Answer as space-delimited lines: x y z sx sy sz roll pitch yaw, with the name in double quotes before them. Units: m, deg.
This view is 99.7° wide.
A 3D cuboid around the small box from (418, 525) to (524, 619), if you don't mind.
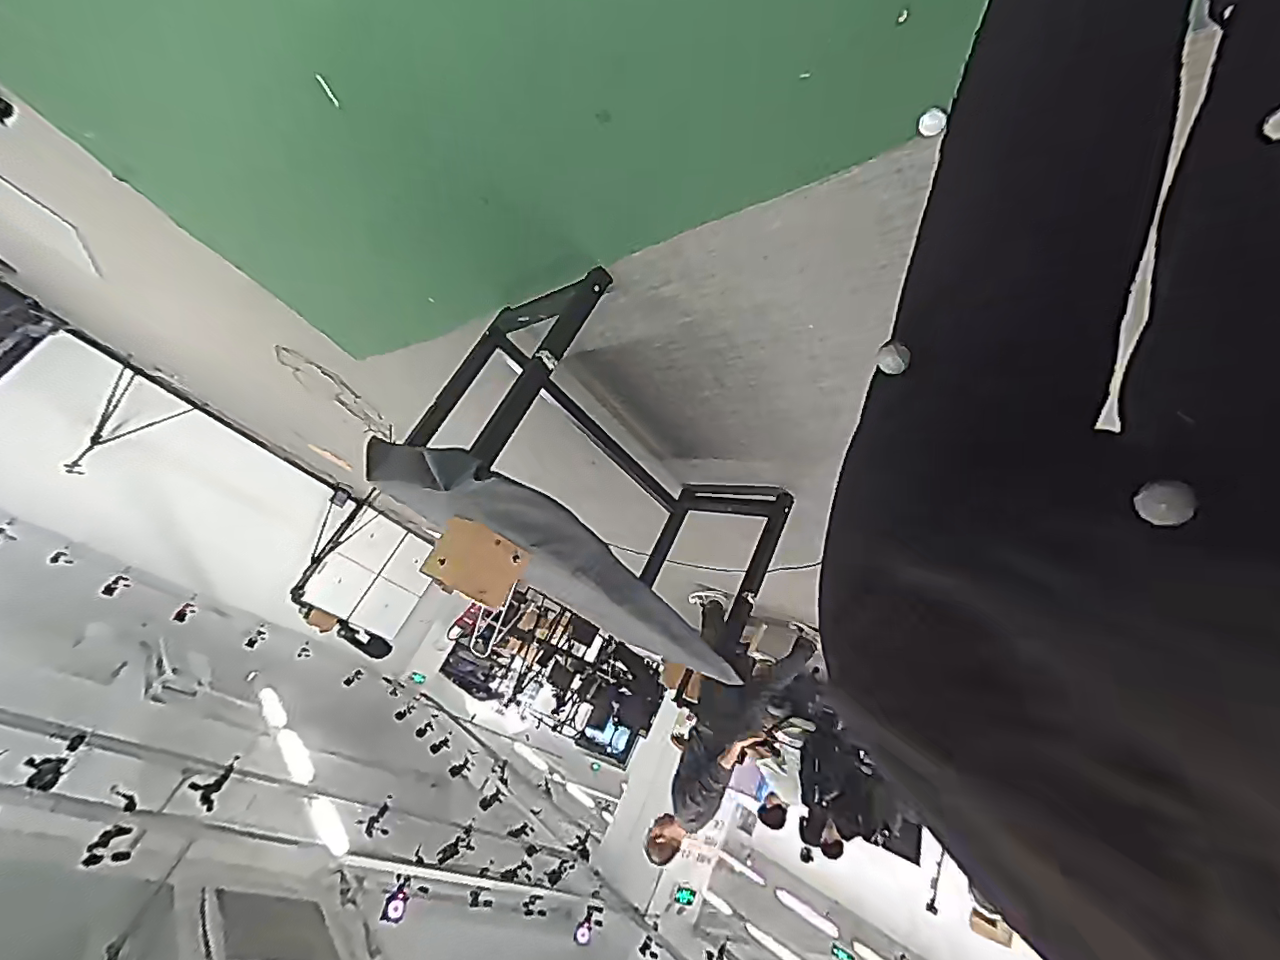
"small box" -0.422 0.228 1.375 0.179 0.176 0.168 5 149 48
